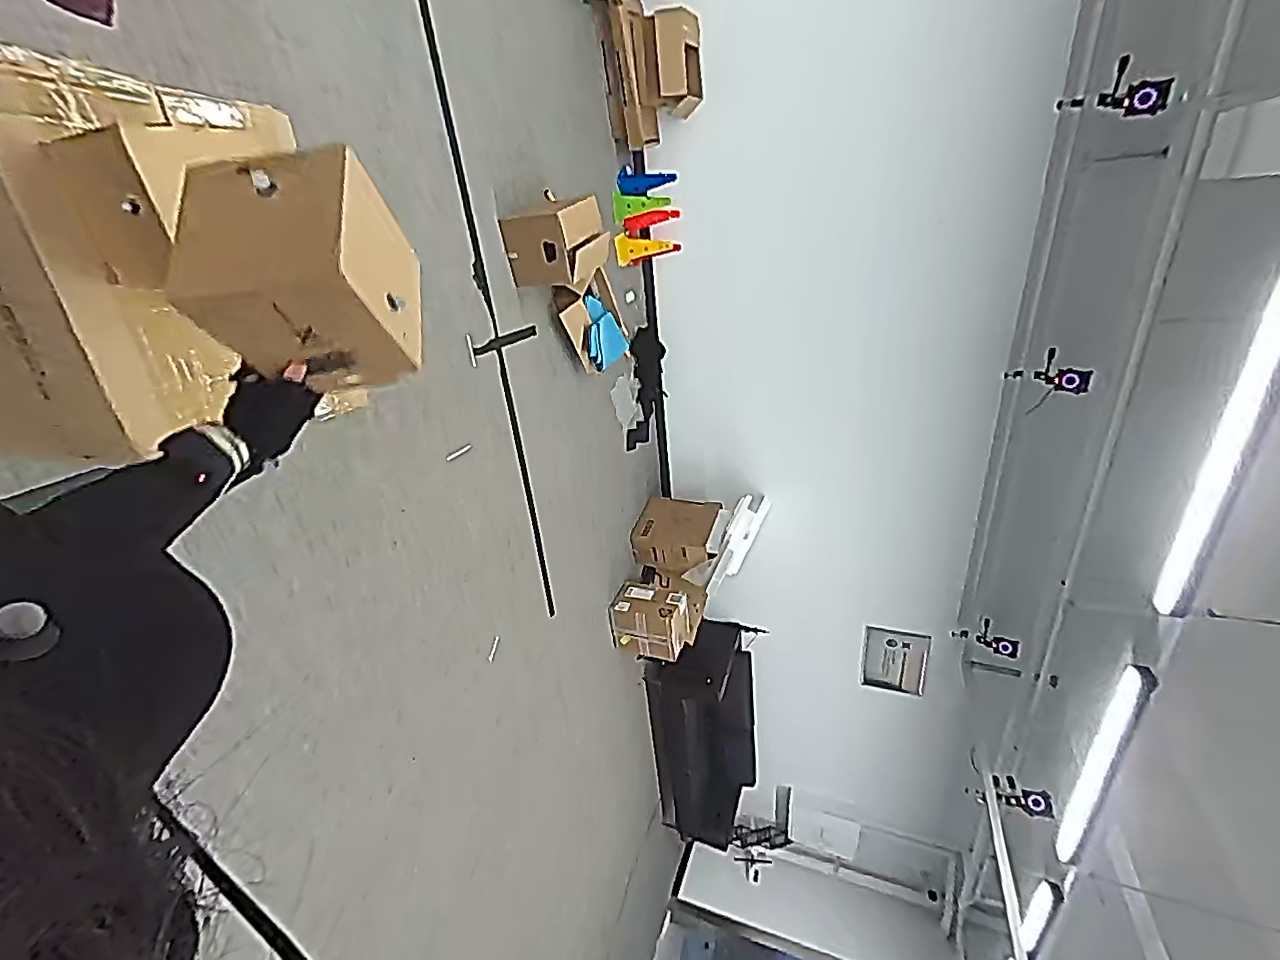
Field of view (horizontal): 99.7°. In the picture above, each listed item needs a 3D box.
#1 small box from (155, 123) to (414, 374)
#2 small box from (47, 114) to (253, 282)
[{"bbox_3d":[-0.361,-0.240,0.587,0.179,0.168,0.176,82,-2,-71],"label":"small box"},{"bbox_3d":[-0.618,-0.373,0.729,0.168,0.176,0.179,-51,142,-52],"label":"small box"}]
